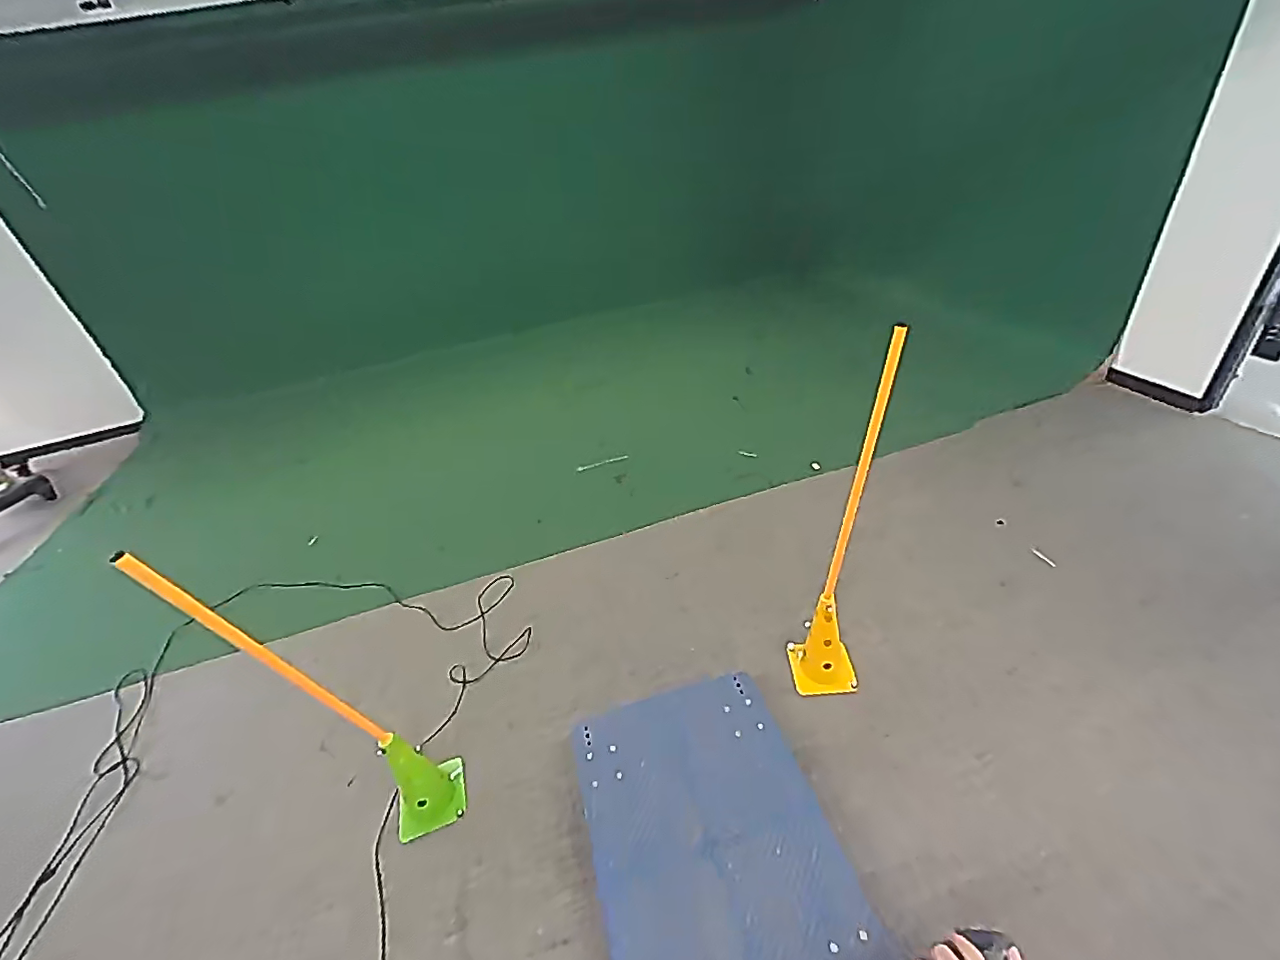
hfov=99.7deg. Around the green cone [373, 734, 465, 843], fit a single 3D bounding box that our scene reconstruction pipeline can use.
[{"bbox_3d":[-0.677,0.853,1.583,0.202,0.368,0.200,-19,36,-11],"label":"green cone"}]
